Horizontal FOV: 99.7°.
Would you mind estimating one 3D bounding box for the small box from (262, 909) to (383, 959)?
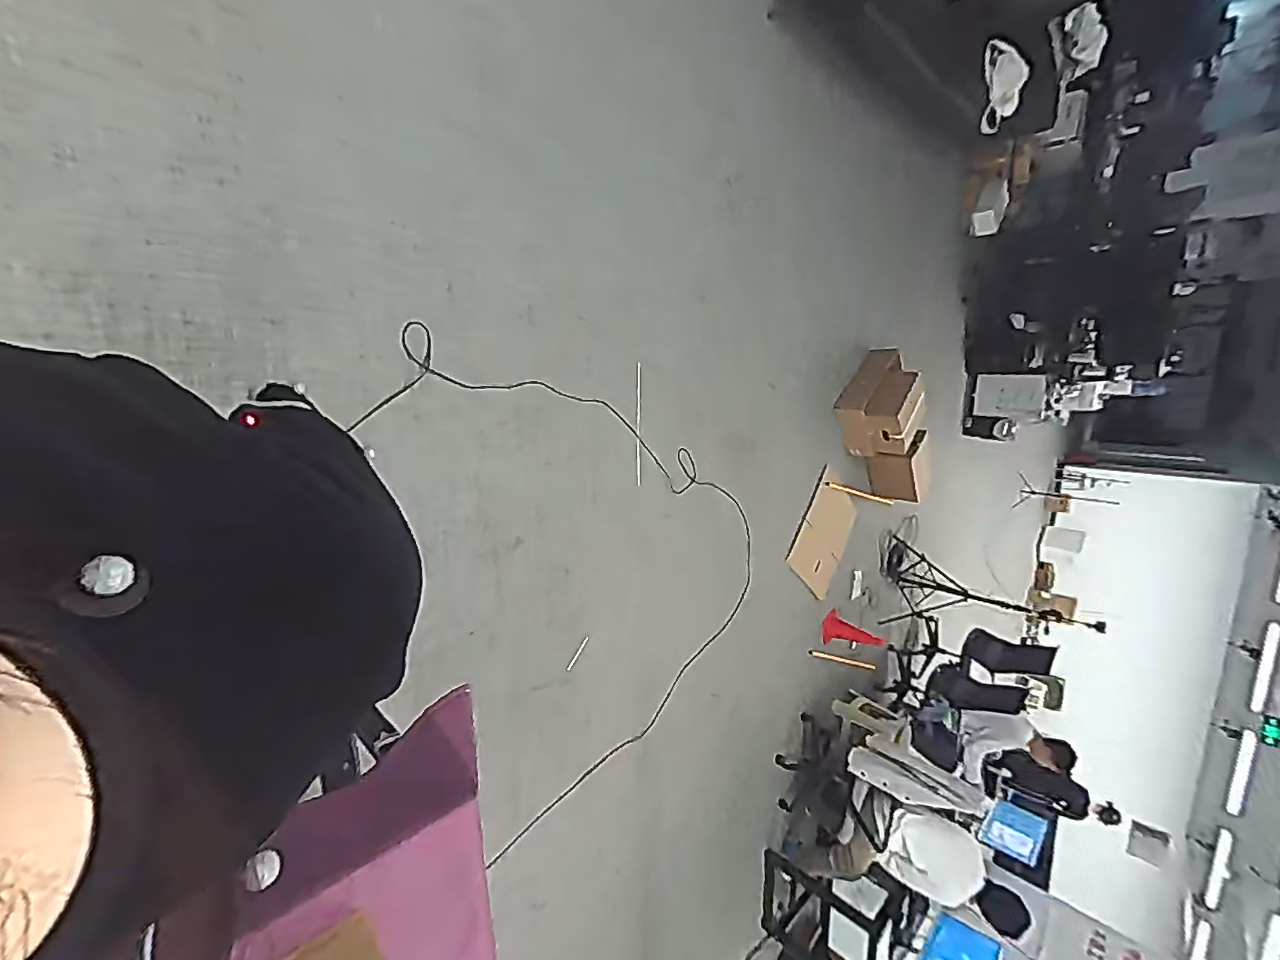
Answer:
[{"bbox_3d":[-0.441,0.761,0.744,0.168,0.176,0.179,-10,106,-44],"label":"small box"}]
